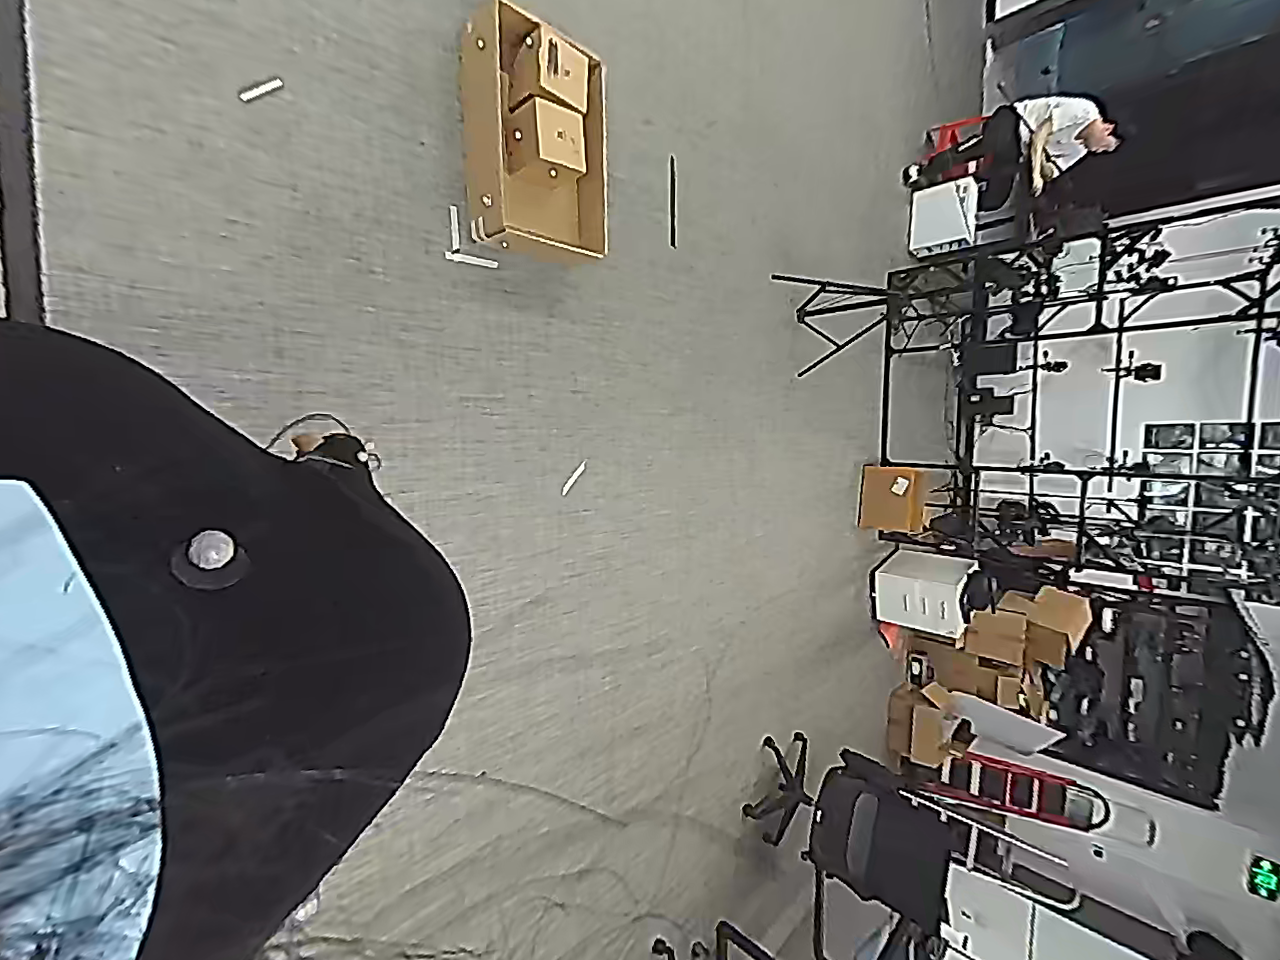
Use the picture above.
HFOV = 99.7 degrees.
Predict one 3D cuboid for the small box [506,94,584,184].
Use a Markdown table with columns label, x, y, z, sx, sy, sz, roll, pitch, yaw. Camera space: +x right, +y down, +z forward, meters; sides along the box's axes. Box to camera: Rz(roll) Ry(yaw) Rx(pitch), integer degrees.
| label | x | y | z | sx | sy | sz | roll | pitch | yaw |
| --- | --- | --- | --- | --- | --- | --- | --- | --- | --- |
| small box | -0.293 | -1.026 | 1.646 | 0.179 | 0.176 | 0.168 | -12 | 103 | -45 |
